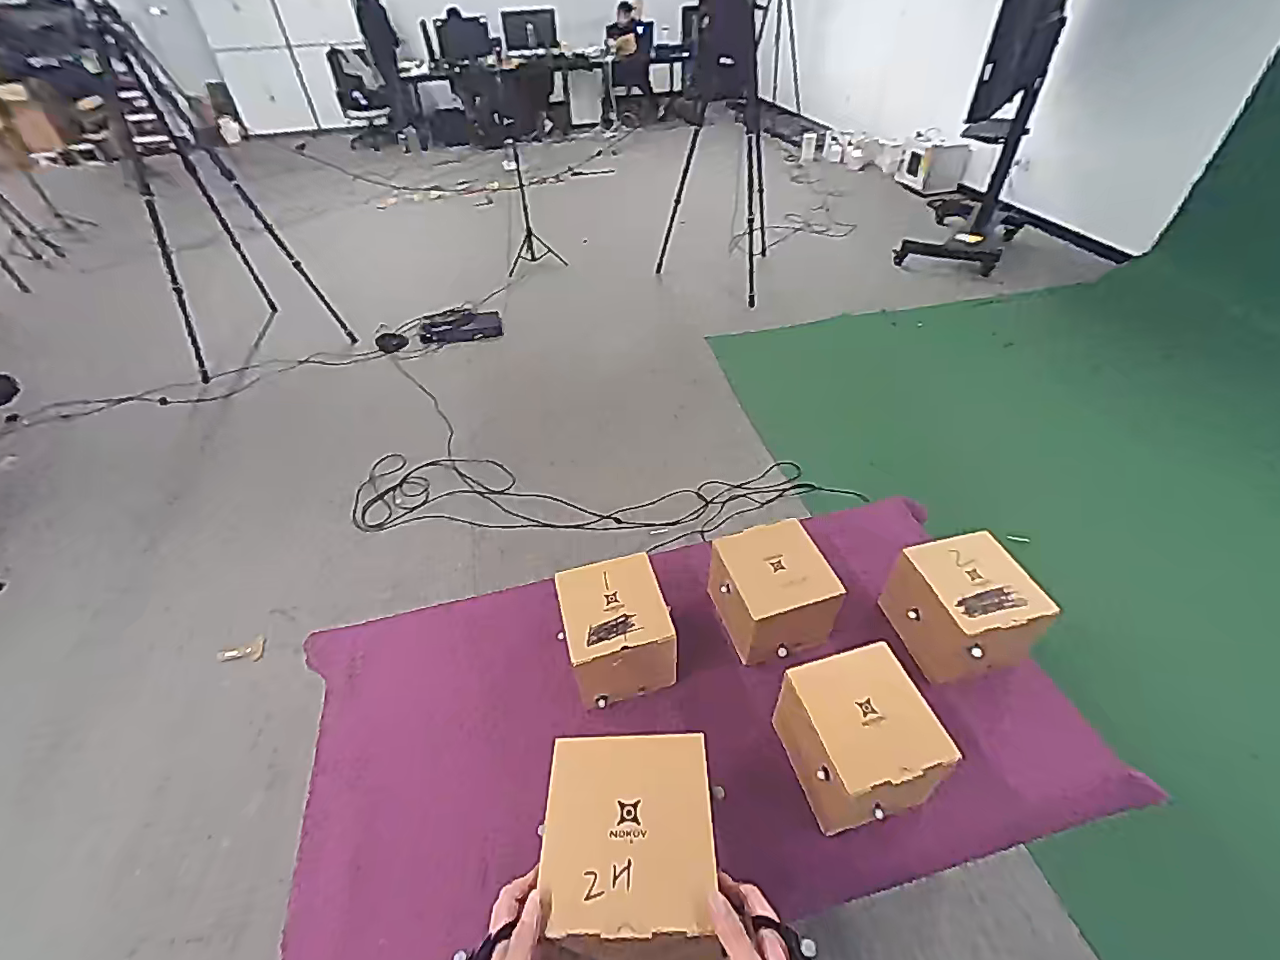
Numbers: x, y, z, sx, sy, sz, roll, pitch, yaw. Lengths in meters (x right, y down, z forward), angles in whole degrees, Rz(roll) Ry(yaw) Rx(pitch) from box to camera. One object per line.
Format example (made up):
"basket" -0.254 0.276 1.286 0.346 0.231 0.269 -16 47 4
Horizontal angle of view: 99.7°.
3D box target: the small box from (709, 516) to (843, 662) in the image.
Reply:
"small box" 0.232 0.197 0.978 0.168 0.176 0.179 -13 46 -10

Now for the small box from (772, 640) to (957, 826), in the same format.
"small box" 0.311 0.371 0.796 0.168 0.176 0.179 -12 45 -10

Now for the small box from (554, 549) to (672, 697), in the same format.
"small box" -0.045 0.251 0.931 0.168 0.176 0.179 -12 45 -10

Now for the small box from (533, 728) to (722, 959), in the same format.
"small box" -0.006 0.389 0.575 0.168 0.176 0.179 -2 38 3
